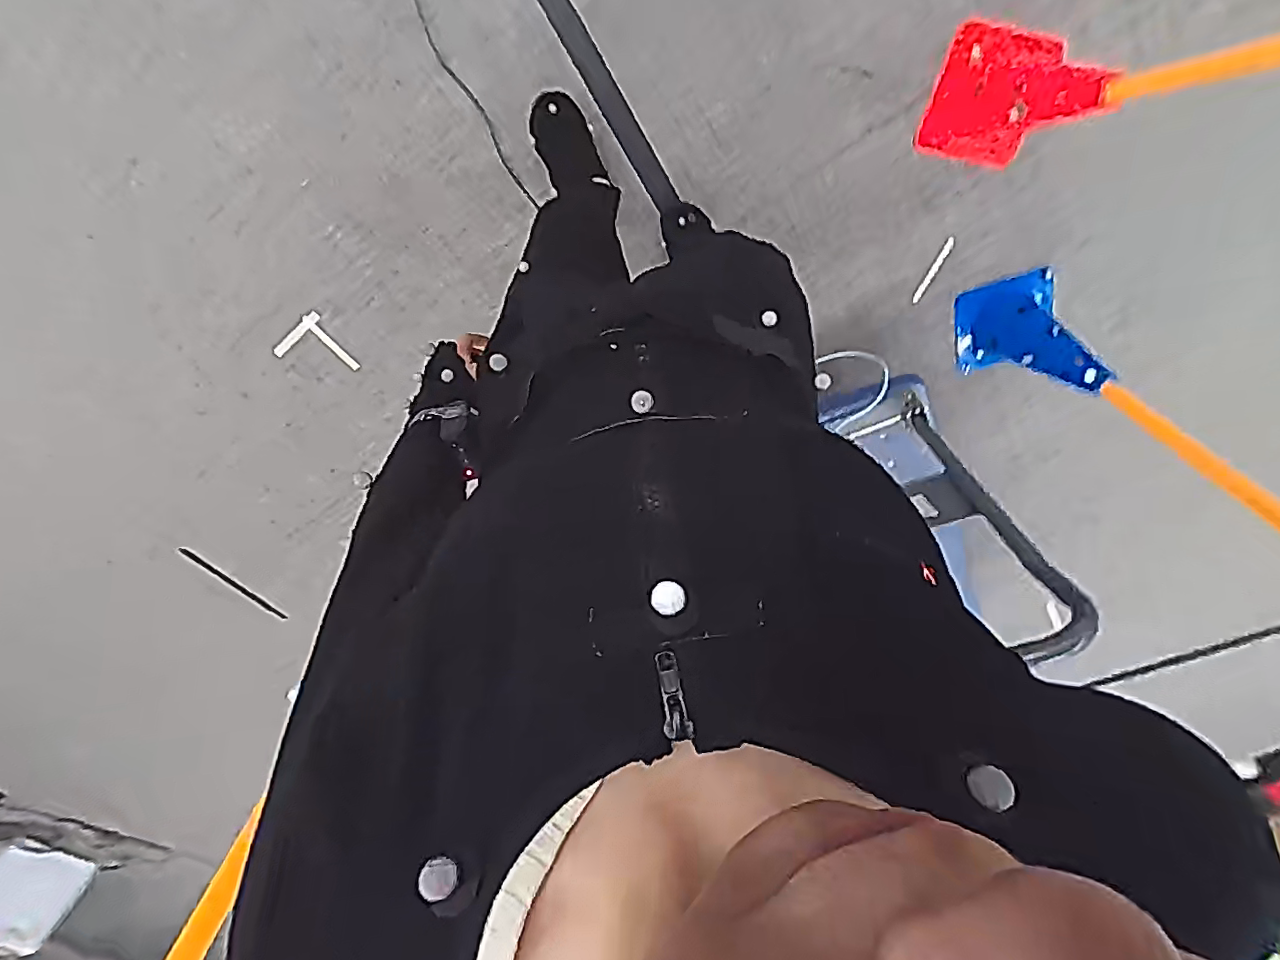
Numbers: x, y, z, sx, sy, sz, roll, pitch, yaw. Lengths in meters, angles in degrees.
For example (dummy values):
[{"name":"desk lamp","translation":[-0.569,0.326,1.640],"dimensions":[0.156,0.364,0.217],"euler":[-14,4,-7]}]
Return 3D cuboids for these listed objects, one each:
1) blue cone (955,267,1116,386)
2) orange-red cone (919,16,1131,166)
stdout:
[{"name":"blue cone","translation":[0.804,-0.270,1.078],"dimensions":[0.193,0.380,0.192],"euler":[-14,121,12]},{"name":"orange-red cone","translation":[0.629,-0.604,0.845],"dimensions":[0.198,0.360,0.199],"euler":[12,125,-4]}]
